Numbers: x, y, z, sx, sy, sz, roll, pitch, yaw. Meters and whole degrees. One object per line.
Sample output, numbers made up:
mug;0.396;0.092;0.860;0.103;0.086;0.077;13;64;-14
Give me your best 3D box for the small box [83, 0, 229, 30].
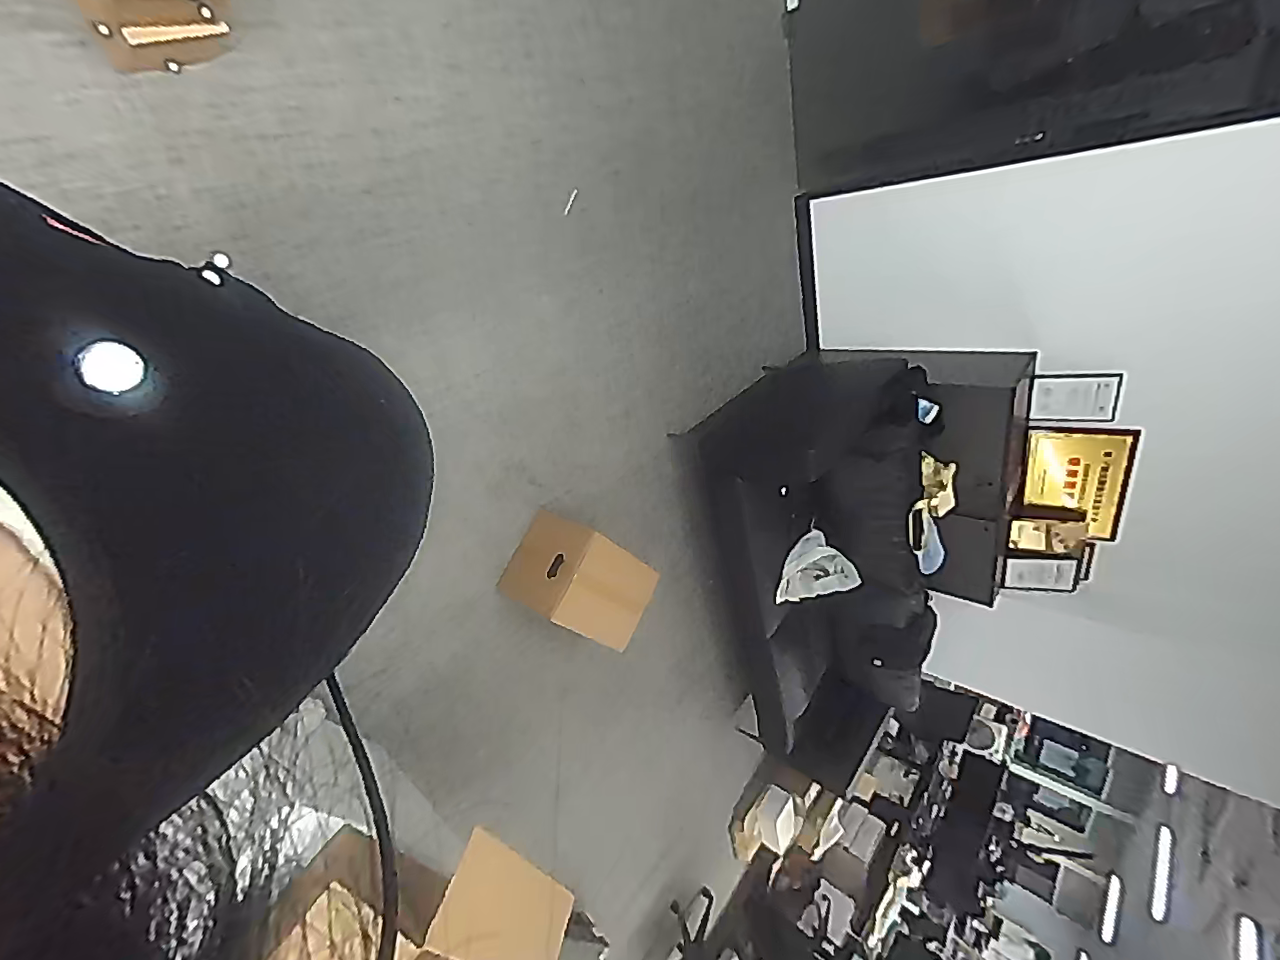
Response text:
small box;-0.786;-0.833;0.841;0.179;0.176;0.168;-38;126;-34
